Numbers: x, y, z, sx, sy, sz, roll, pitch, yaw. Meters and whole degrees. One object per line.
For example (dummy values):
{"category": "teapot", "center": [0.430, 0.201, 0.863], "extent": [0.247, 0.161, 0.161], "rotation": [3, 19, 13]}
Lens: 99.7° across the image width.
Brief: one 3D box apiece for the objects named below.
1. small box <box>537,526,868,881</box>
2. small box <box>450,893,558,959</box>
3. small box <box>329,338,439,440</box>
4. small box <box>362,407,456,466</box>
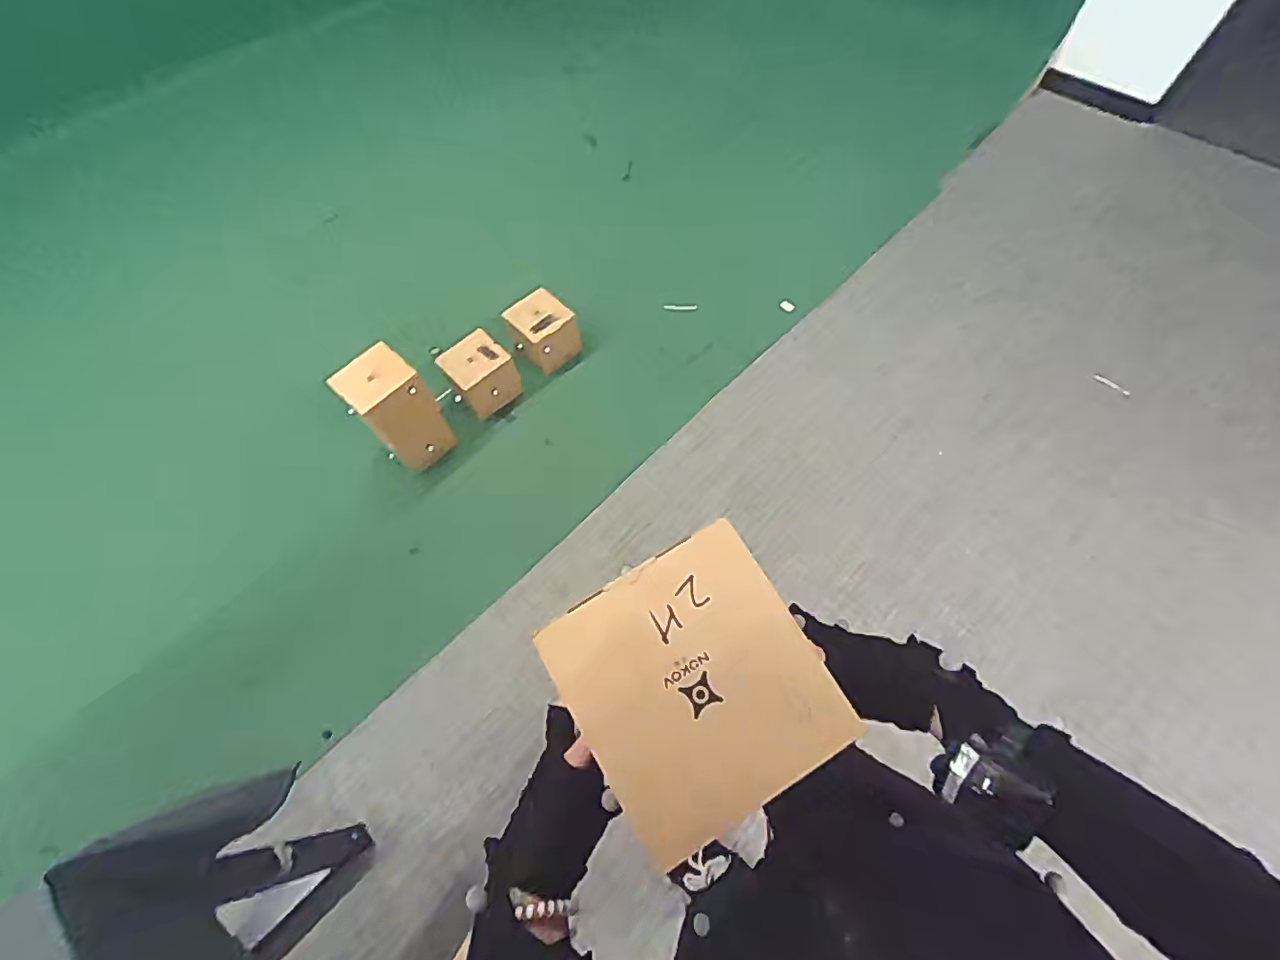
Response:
{"category": "small box", "center": [0.041, 0.160, 0.440], "extent": [0.168, 0.176, 0.179], "rotation": [-29, 78, -7]}
{"category": "small box", "center": [-0.276, 0.950, 1.038], "extent": [0.168, 0.176, 0.179], "rotation": [29, 69, 15]}
{"category": "small box", "center": [-0.681, -0.239, 1.458], "extent": [0.168, 0.176, 0.179], "rotation": [38, 71, 19]}
{"category": "small box", "center": [-0.678, -0.164, 1.604], "extent": [0.179, 0.176, 0.168], "rotation": [40, 71, 18]}
